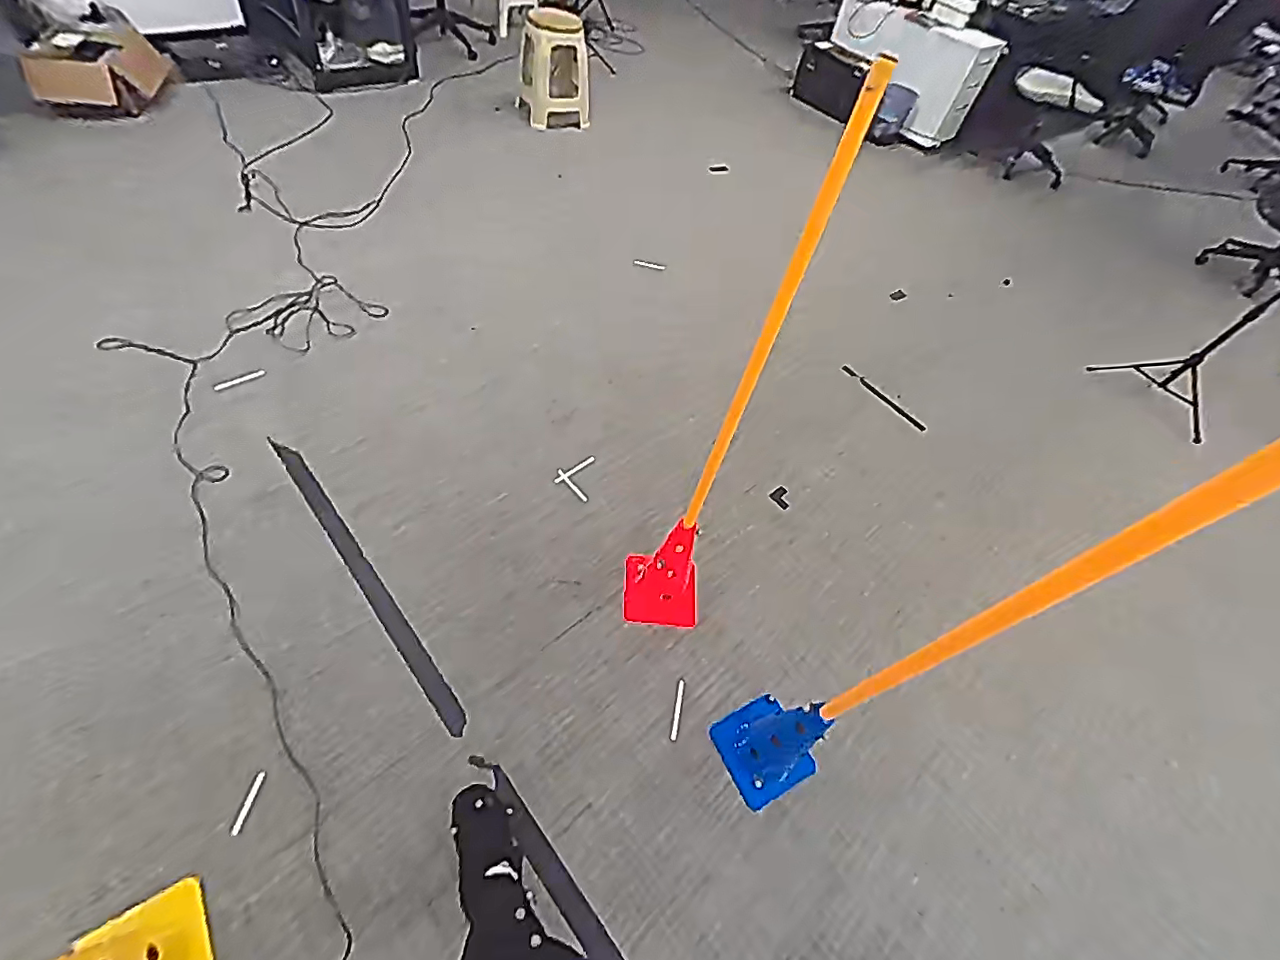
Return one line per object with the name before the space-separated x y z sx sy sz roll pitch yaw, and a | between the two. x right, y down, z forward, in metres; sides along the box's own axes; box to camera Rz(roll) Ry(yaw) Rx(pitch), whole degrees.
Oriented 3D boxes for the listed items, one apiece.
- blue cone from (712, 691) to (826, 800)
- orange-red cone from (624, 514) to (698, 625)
blue cone | 0.308 0.527 1.140 0.193 0.380 0.192 -17 58 -22
orange-red cone | 0.083 0.193 1.328 0.198 0.360 0.199 8 54 -4
